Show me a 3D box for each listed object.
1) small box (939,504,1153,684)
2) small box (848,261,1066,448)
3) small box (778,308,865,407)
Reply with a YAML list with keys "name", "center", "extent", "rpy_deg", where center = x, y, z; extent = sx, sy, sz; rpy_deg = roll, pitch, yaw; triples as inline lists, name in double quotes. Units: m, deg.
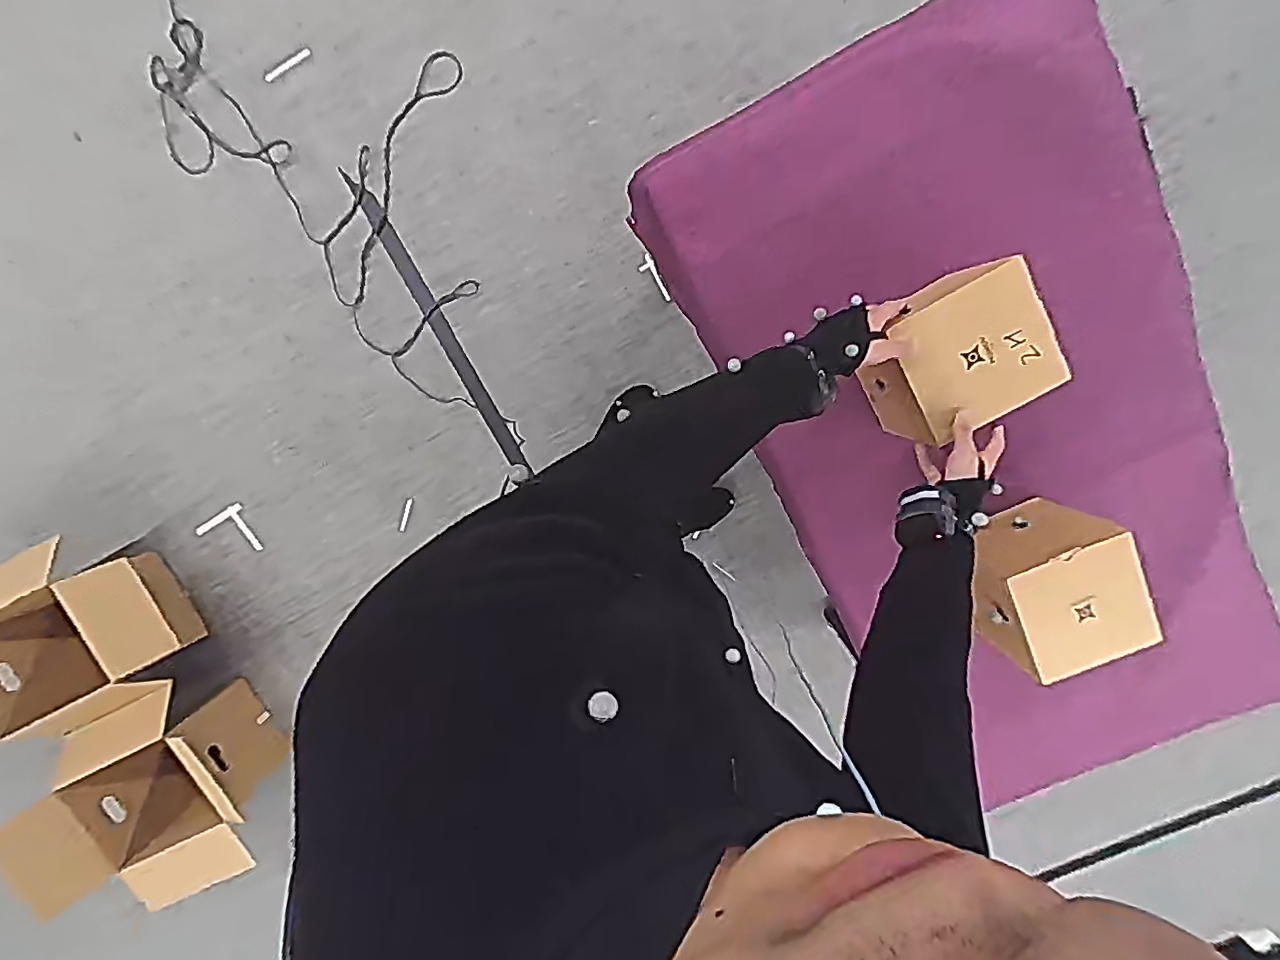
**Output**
- name: "small box"
  center: [0.584, 0.158, 0.799]
  extent: [0.168, 0.176, 0.179]
  rpy_deg: [-24, 100, 6]
- name: "small box"
  center: [0.405, -0.163, 0.729]
  extent: [0.179, 0.176, 0.168]
  rpy_deg: [-29, 101, 7]
- name: "small box"
  center: [0.463, -0.299, 1.328]
  extent: [0.168, 0.176, 0.179]
  rpy_deg: [-30, 103, 7]
